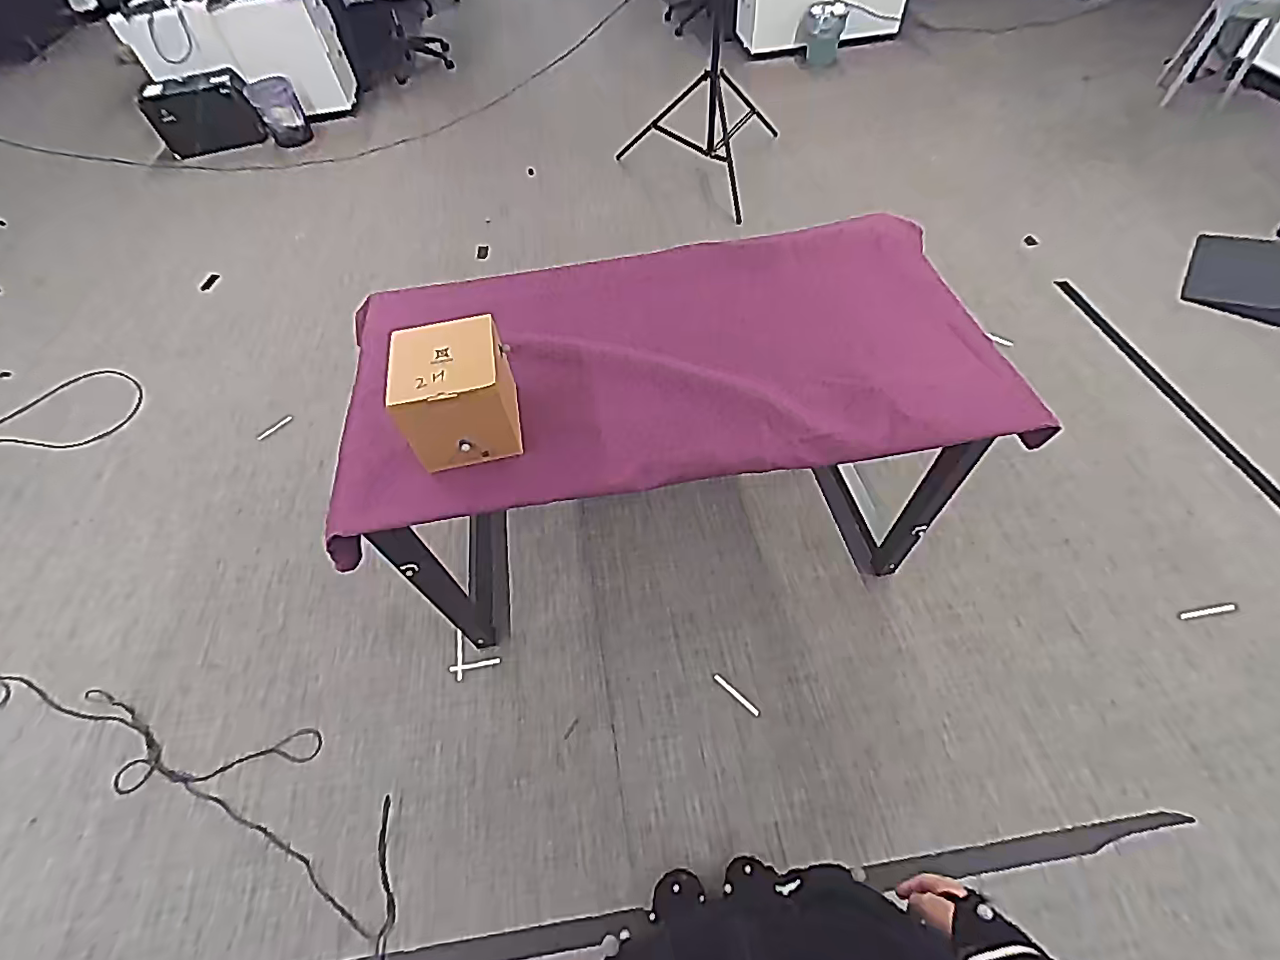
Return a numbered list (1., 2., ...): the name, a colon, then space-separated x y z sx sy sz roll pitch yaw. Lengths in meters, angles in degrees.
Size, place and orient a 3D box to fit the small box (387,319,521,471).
1. small box: -0.306 -0.141 0.916 0.168 0.176 0.179 -12 55 -4
